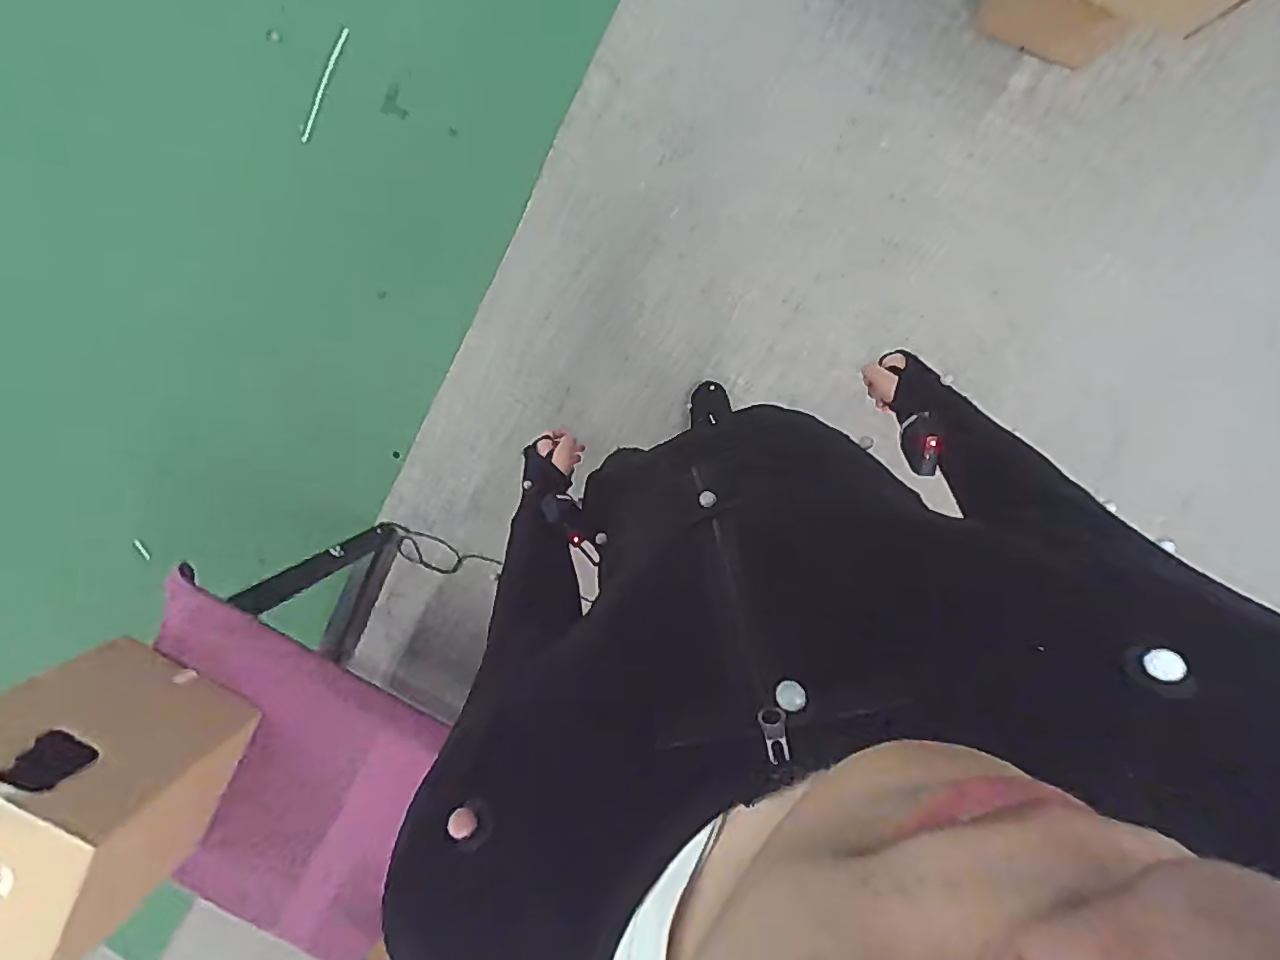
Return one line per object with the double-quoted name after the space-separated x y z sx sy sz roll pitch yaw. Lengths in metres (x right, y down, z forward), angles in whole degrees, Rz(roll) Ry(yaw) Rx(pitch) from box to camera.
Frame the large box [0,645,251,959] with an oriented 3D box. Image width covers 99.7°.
-0.978 0.579 0.929 0.320 0.320 0.408 30 101 -2 "large box"
